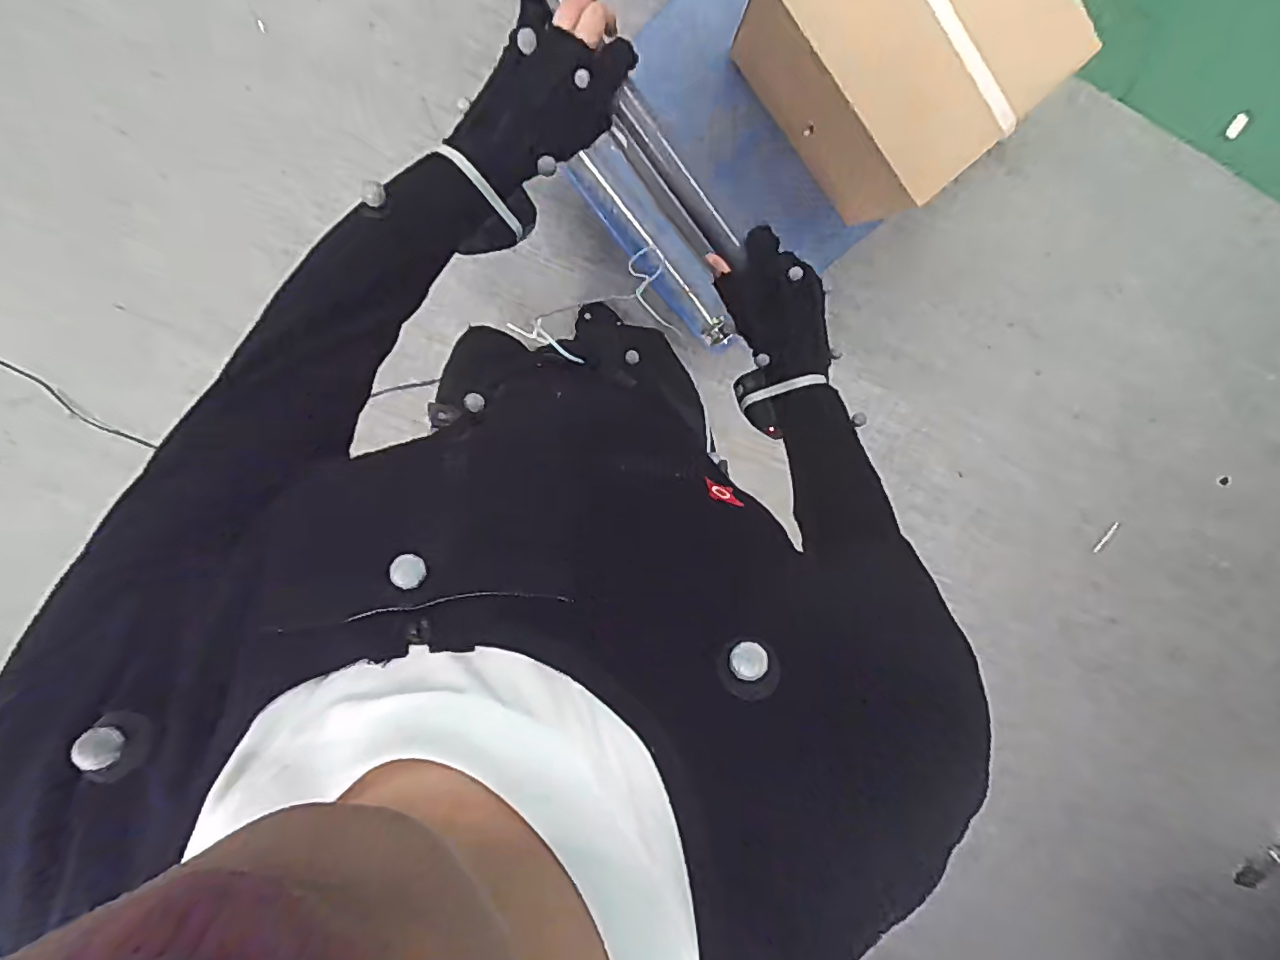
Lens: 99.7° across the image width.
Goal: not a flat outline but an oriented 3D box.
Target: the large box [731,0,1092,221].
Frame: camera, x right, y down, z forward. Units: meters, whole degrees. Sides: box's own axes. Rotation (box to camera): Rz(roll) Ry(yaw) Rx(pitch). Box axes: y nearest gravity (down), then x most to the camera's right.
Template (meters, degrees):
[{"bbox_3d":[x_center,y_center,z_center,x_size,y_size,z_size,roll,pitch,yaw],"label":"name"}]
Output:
[{"bbox_3d":[0.408,-0.714,0.901,0.320,0.320,0.408,-40,105,13],"label":"large box"}]
